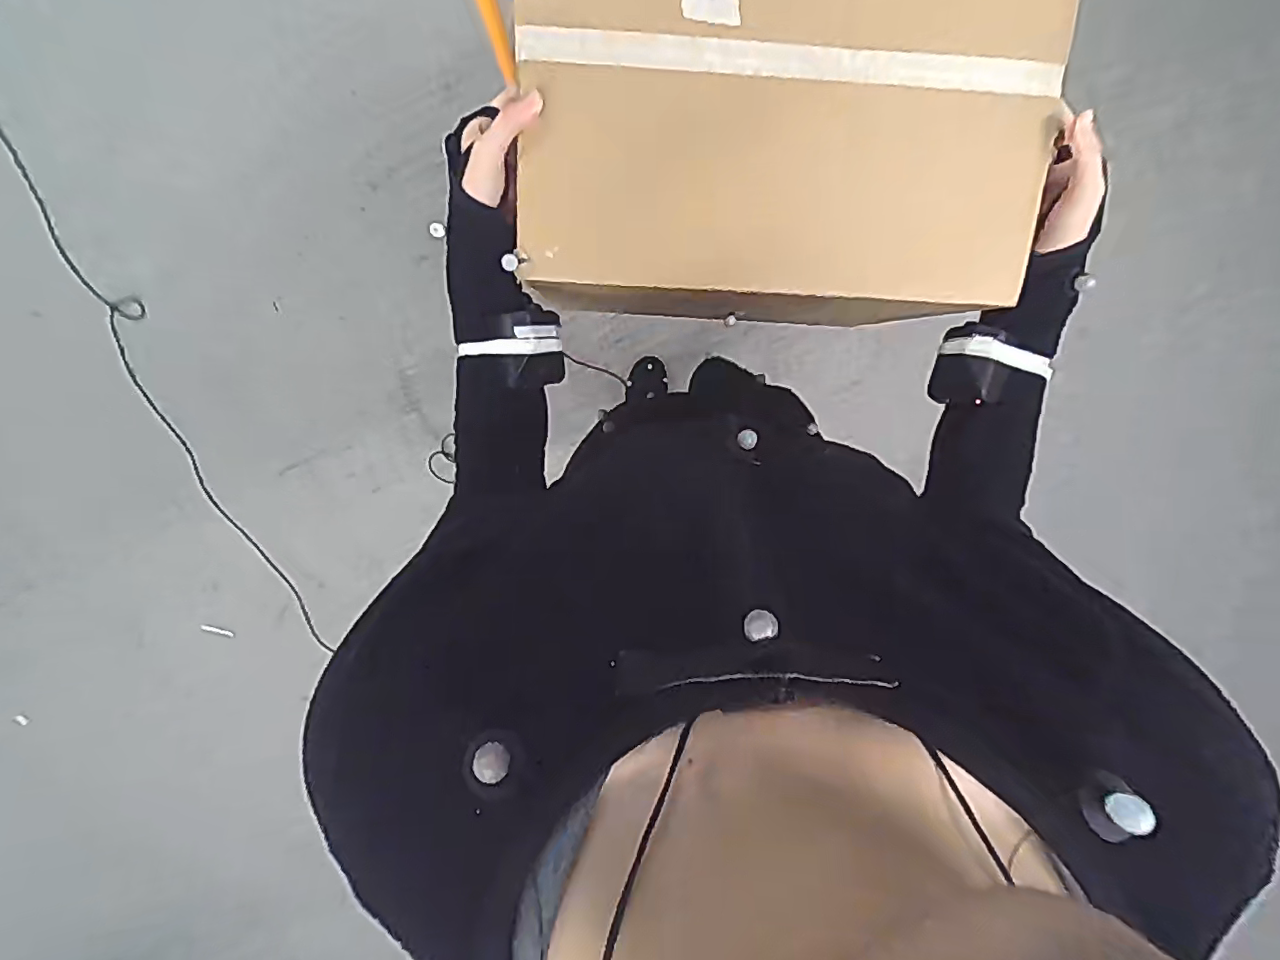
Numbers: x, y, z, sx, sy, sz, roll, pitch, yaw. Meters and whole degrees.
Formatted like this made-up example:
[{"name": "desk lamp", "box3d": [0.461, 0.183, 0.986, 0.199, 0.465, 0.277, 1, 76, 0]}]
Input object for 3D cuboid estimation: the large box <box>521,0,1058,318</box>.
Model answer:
[{"name": "large box", "box3d": [0.108, -0.341, 0.557, 0.408, 0.320, 0.320, 3, 103, -2]}]
